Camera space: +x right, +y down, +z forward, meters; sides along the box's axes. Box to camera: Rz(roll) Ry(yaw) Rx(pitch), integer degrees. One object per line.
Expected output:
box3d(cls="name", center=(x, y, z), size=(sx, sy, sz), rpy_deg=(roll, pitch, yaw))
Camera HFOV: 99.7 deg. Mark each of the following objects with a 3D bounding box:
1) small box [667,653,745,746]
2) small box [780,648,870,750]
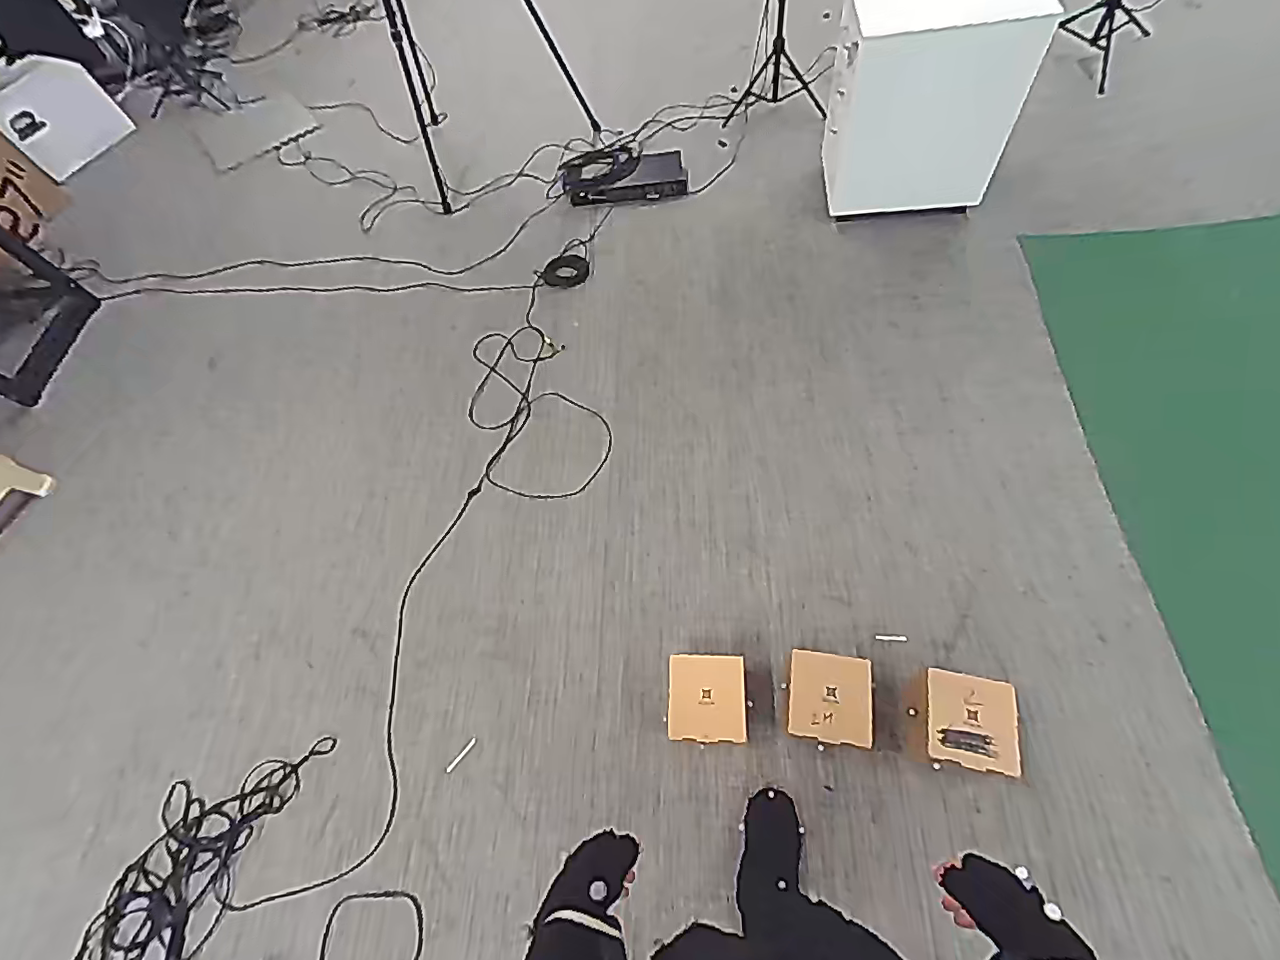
box3d(cls="small box", center=(0.152, 0.504, 1.237), size=(0.168, 0.176, 0.179), rpy_deg=(-1, 62, 9))
box3d(cls="small box", center=(0.406, 0.490, 1.203), size=(0.168, 0.176, 0.179), rpy_deg=(6, 63, 13))
